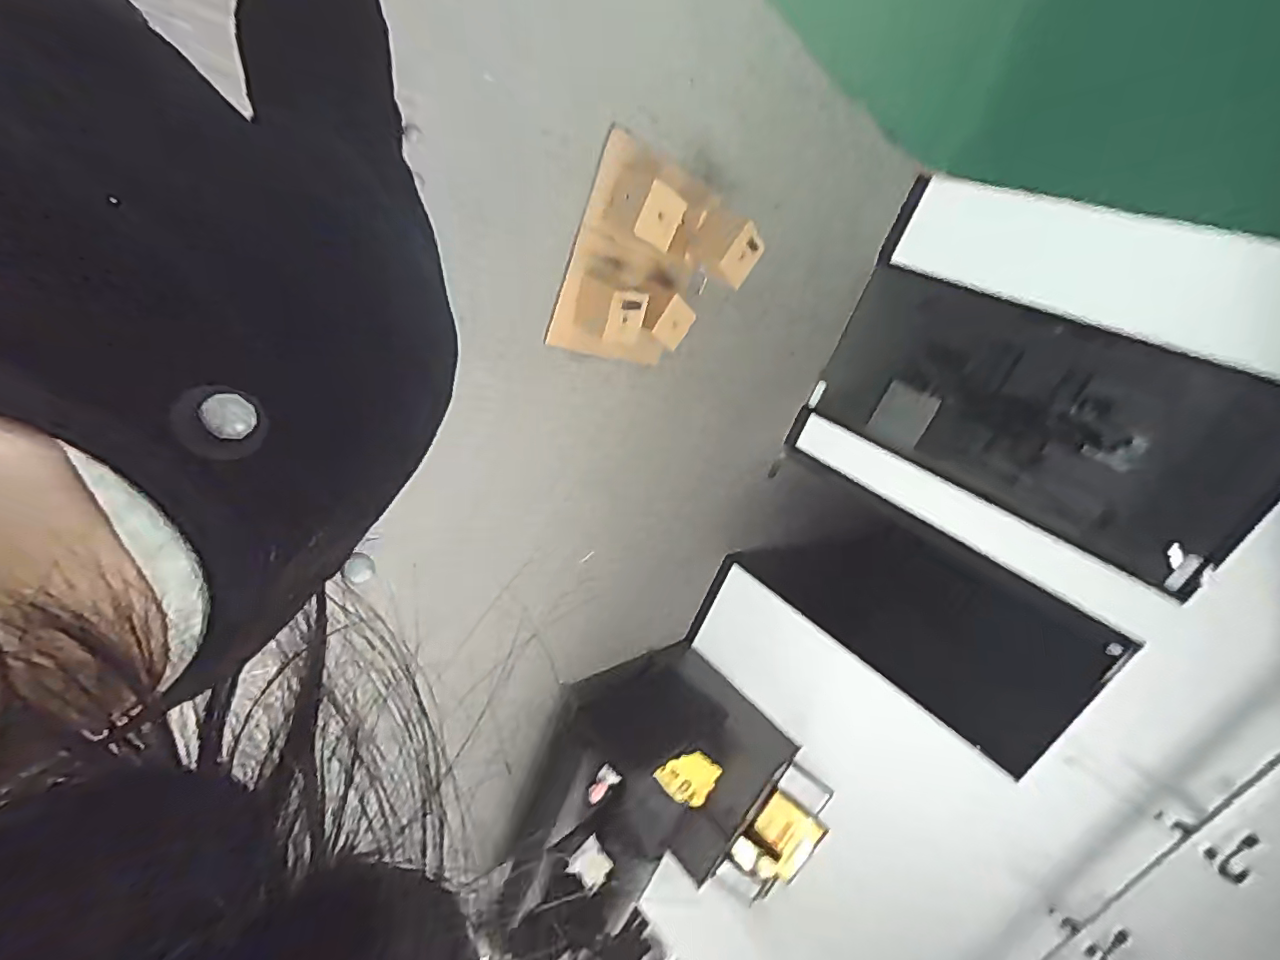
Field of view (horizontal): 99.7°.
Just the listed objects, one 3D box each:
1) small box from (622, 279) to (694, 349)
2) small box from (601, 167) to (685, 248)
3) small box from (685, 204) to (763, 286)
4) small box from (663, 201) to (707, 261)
[{"bbox_3d":[0.067,-0.631,2.042,0.168,0.176,0.179,-56,147,6],"label":"small box"},{"bbox_3d":[0.005,-0.879,1.740,0.179,0.176,0.168,4,119,-52],"label":"small box"},{"bbox_3d":[0.284,-0.806,1.849,0.179,0.176,0.168,-55,147,6],"label":"small box"},{"bbox_3d":[0.176,-0.890,1.942,0.179,0.176,0.168,-2,123,-50],"label":"small box"}]
